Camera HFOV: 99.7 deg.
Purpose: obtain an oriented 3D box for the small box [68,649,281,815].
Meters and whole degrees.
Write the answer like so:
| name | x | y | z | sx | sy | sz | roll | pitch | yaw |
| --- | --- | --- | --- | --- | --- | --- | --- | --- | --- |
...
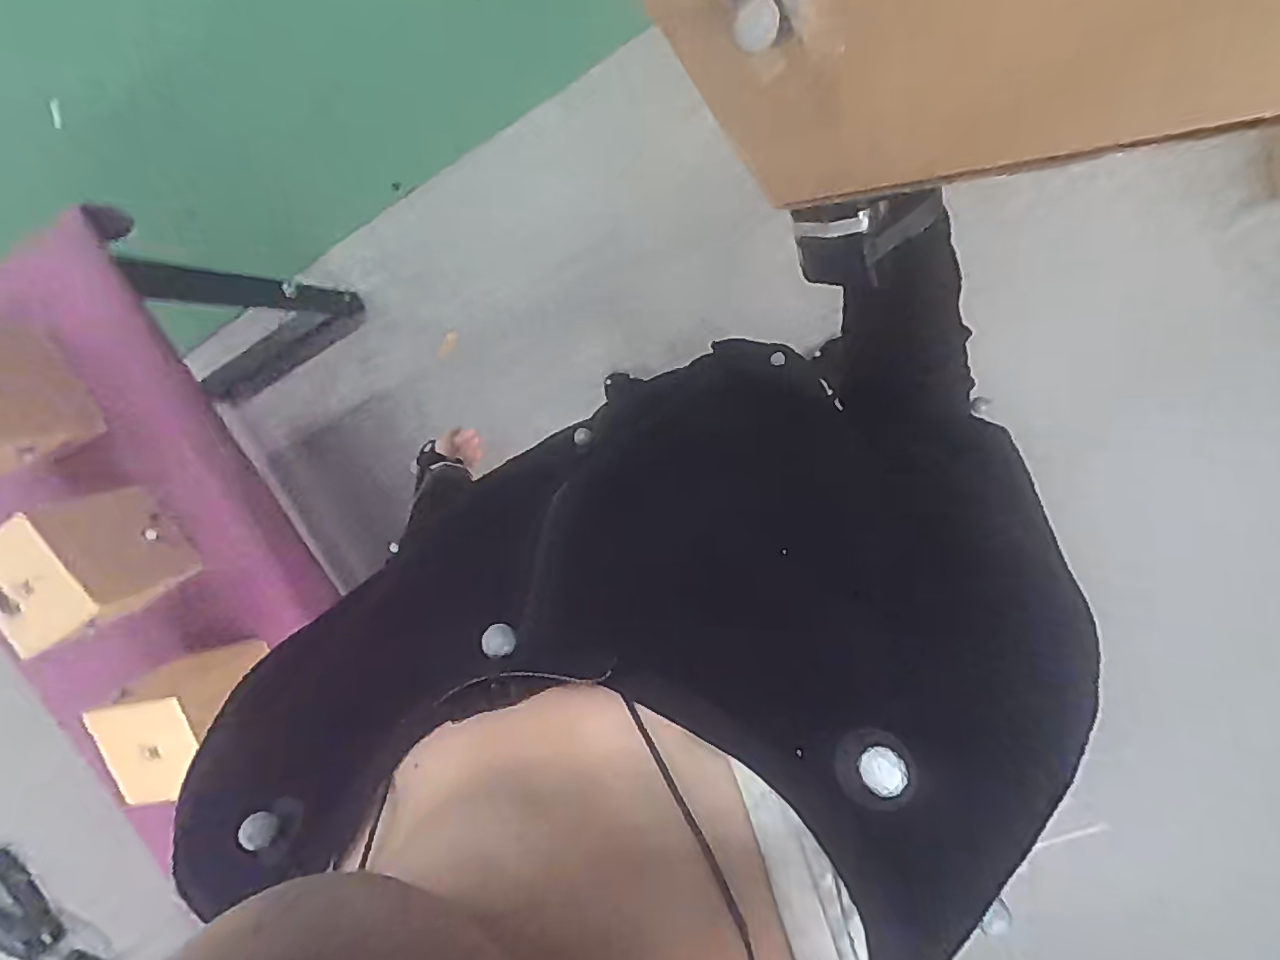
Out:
| name | x | y | z | sx | sy | sz | roll | pitch | yaw |
| --- | --- | --- | --- | --- | --- | --- | --- | --- | --- |
| small box | -0.717 | 0.390 | 0.862 | 0.179 | 0.176 | 0.168 | -13 | 102 | 10 |

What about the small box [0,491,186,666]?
| name | x | y | z | sx | sy | sz | roll | pitch | yaw |
| --- | --- | --- | --- | --- | --- | --- | --- | --- | --- |
| small box | -0.857 | 0.140 | 0.817 | 0.179 | 0.176 | 0.168 | -30 | 99 | 12 |

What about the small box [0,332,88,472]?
| name | x | y | z | sx | sy | sz | roll | pitch | yaw |
| --- | --- | --- | --- | --- | --- | --- | --- | --- | --- |
| small box | -0.970 | -0.103 | 0.772 | 0.168 | 0.176 | 0.179 | -22 | 100 | 12 |
